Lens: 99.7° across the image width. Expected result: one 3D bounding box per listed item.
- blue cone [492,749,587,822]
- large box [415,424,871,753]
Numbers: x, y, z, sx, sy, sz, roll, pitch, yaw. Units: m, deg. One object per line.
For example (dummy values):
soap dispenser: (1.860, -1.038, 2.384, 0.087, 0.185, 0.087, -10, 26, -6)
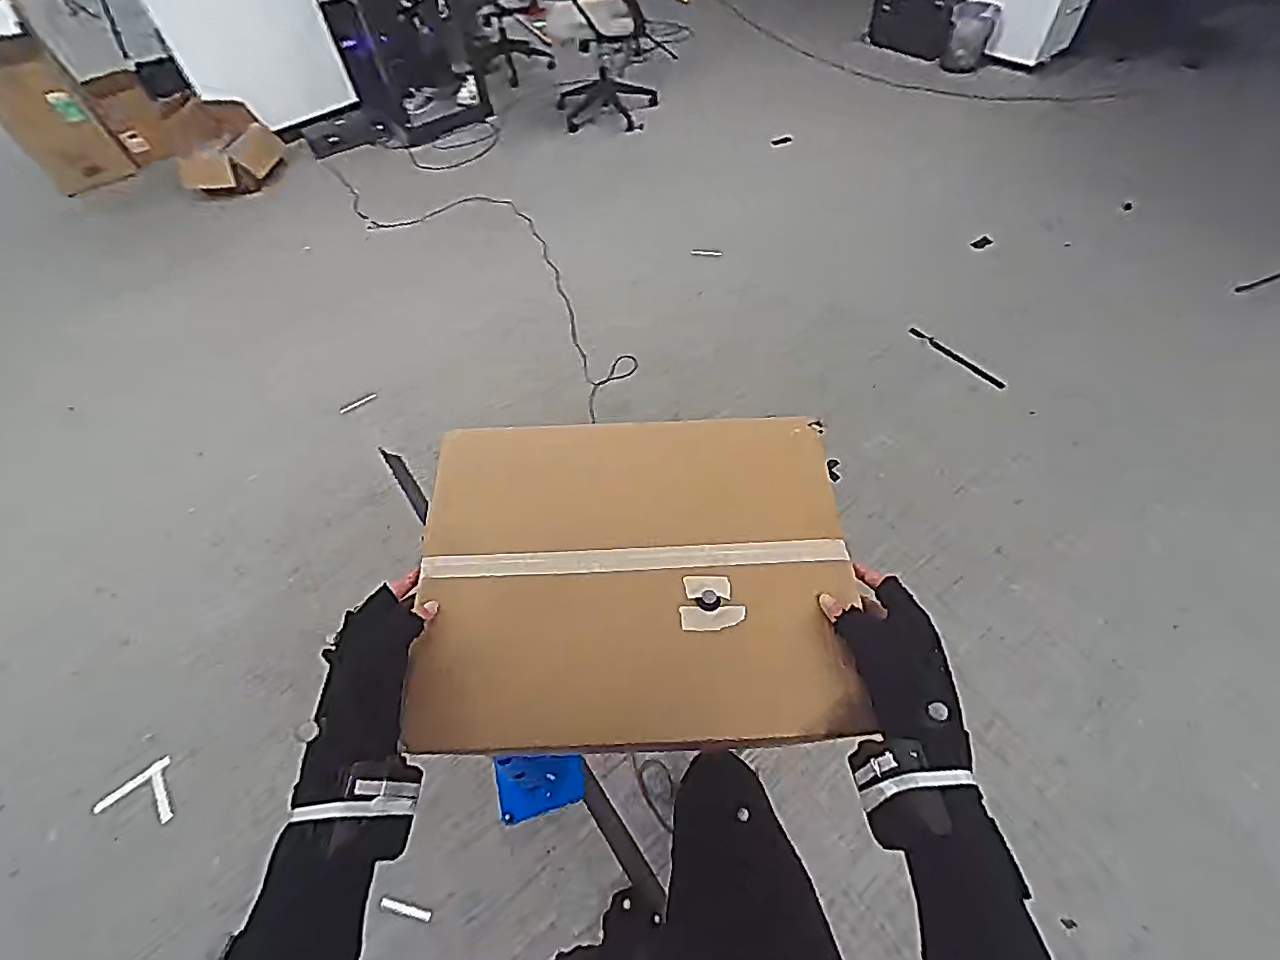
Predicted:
blue cone: (-0.251, 0.609, 1.181, 0.193, 0.380, 0.192, -16, 56, -5)
large box: (-0.002, 0.149, 0.663, 0.408, 0.320, 0.320, -2, 62, 0)
